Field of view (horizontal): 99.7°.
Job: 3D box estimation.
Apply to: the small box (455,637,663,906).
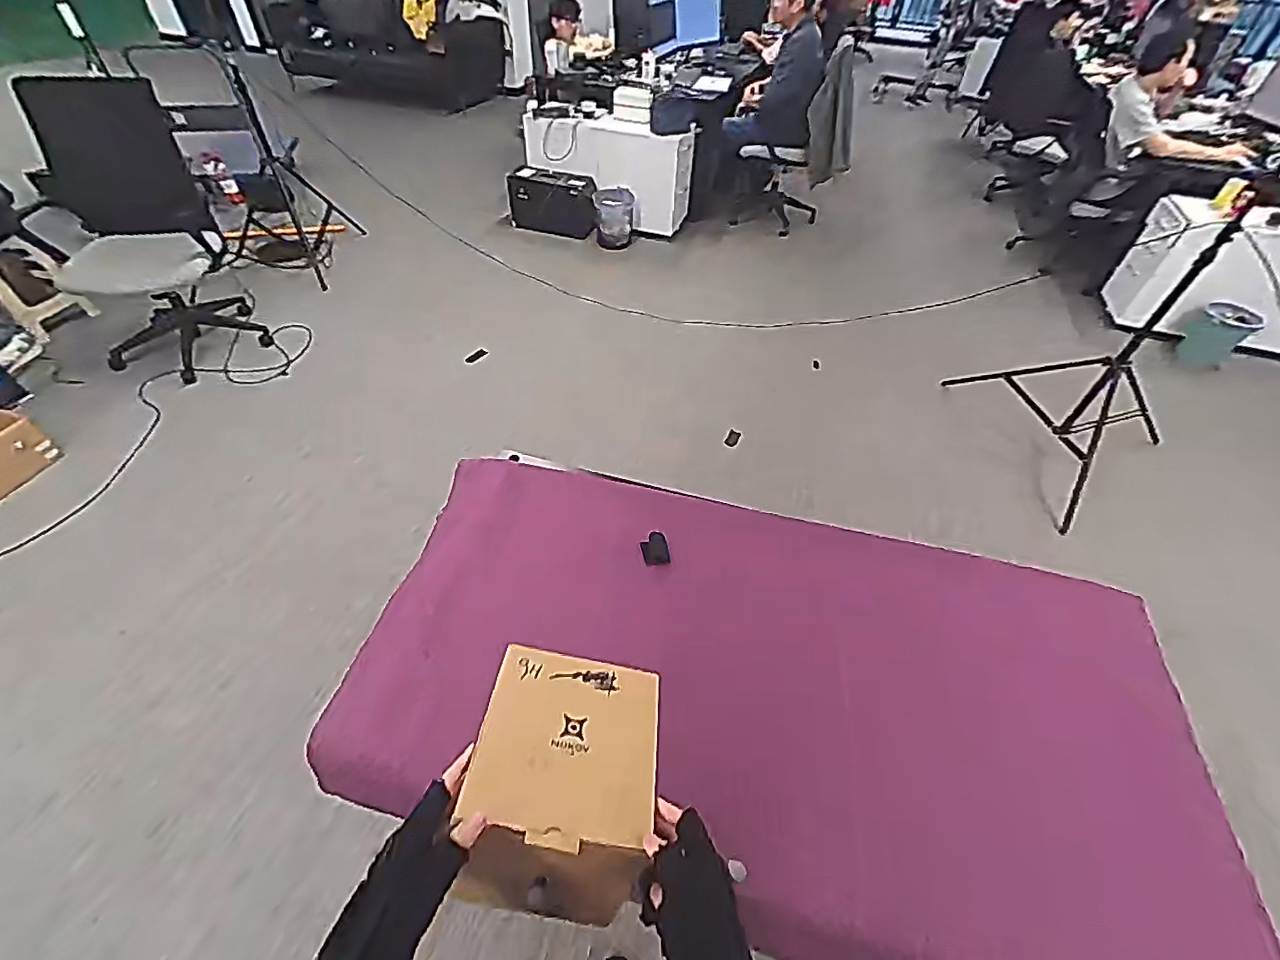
[{"bbox_3d":[-0.079,0.295,0.549,0.168,0.176,0.179,13,34,-5],"label":"small box"}]
